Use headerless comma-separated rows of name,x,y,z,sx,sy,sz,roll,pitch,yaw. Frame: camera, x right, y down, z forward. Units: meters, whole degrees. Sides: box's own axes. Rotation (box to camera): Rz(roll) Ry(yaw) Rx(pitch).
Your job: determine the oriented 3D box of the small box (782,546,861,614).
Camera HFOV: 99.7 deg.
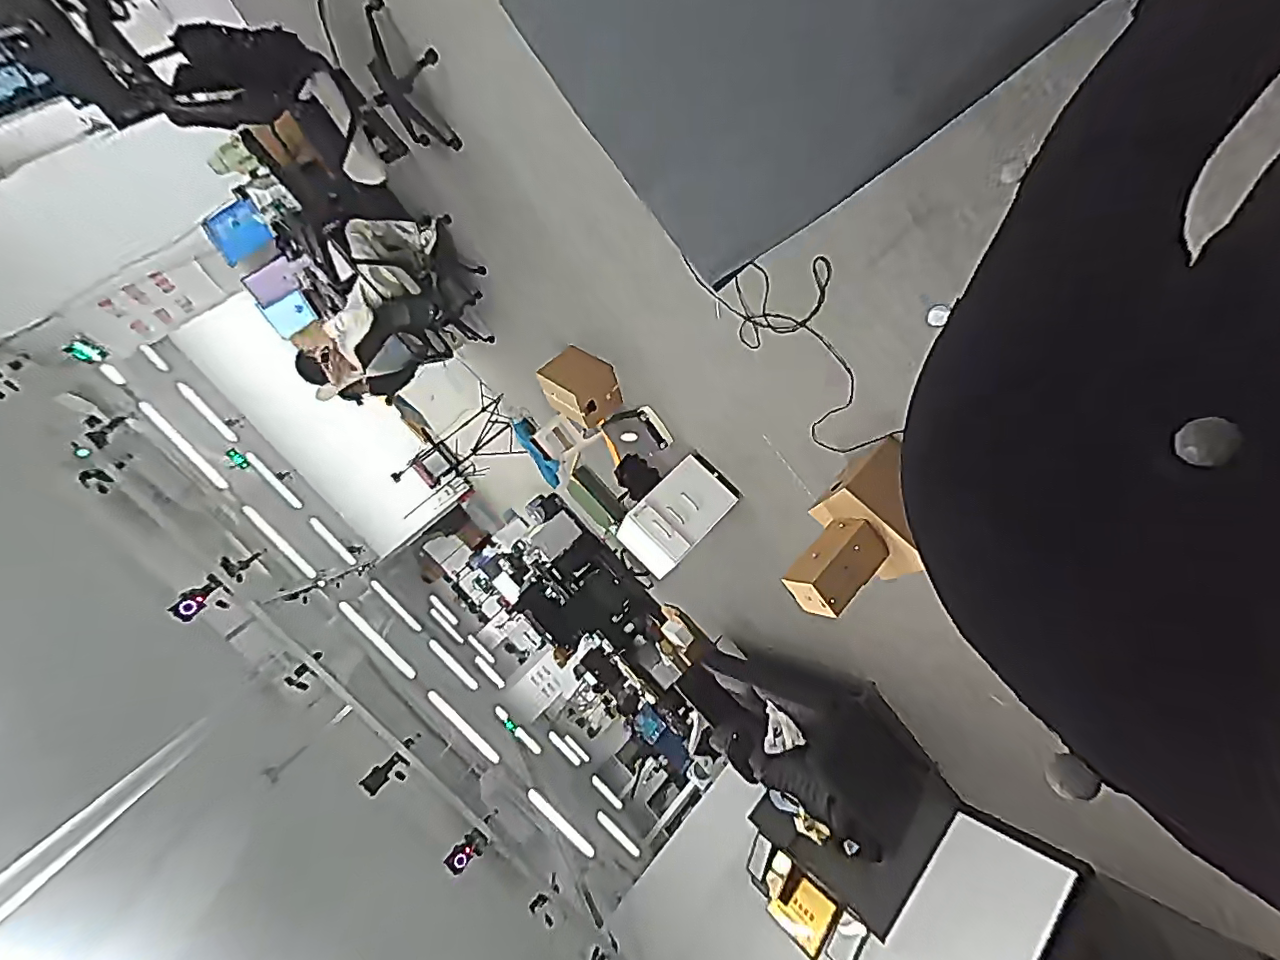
small box,0.660,0.355,1.965,0.168,0.176,0.179,50,162,-12
